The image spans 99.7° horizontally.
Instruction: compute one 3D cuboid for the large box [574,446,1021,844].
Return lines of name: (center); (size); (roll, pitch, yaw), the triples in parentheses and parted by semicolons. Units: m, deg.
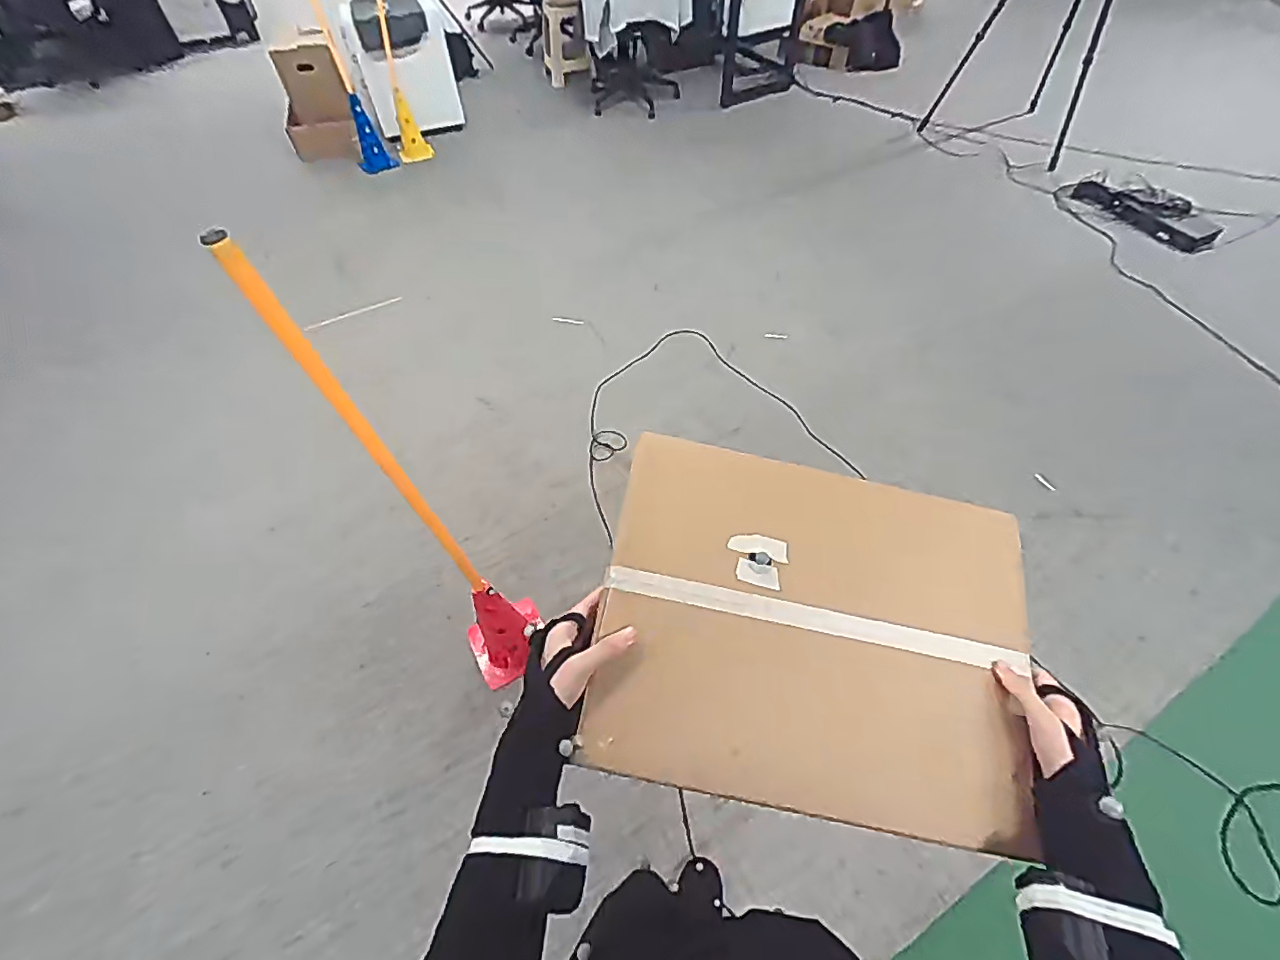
large box: (0.153, 0.193, 0.658); (0.408, 0.320, 0.320); (12, 67, 0)
